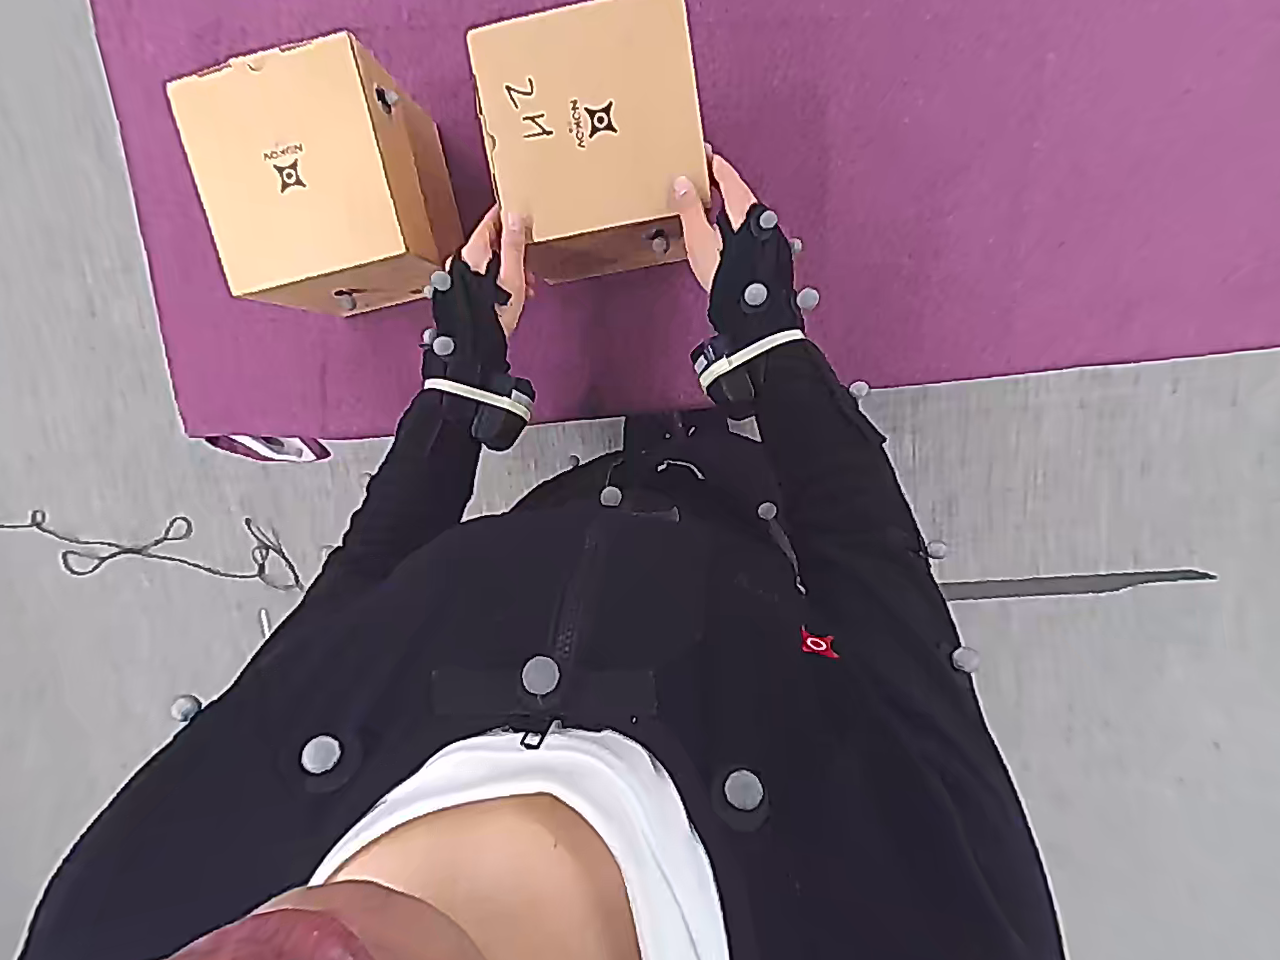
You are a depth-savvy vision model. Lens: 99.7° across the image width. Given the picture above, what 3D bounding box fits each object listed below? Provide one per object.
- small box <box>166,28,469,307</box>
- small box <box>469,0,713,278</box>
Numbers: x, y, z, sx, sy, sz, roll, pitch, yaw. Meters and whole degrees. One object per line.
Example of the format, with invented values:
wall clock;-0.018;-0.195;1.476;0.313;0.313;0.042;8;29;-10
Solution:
small box;-0.289;-0.276;0.529;0.168;0.176;0.179;-12;99;5
small box;-0.034;-0.301;0.508;0.179;0.176;0.168;-9;99;5
